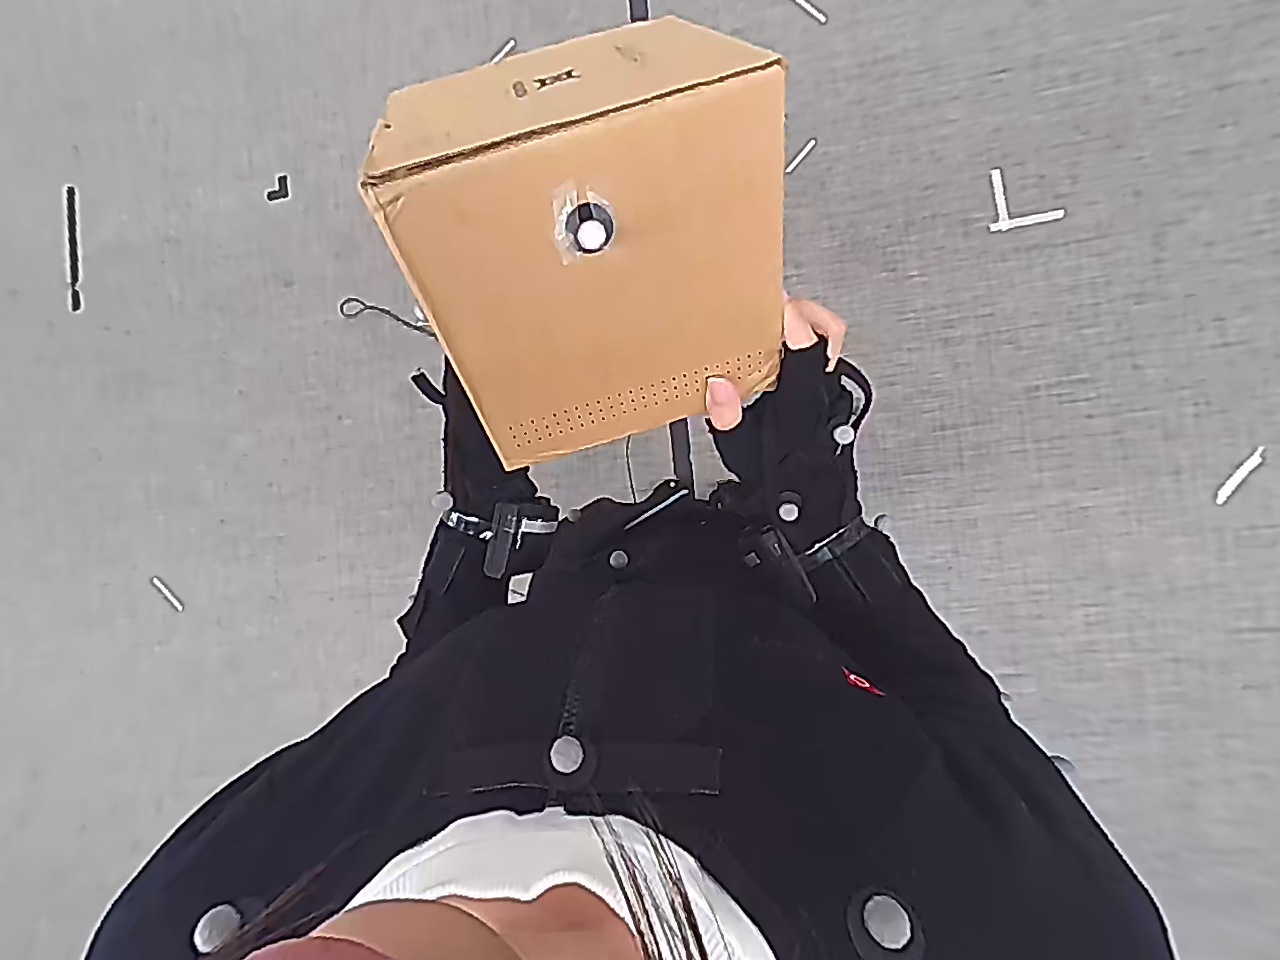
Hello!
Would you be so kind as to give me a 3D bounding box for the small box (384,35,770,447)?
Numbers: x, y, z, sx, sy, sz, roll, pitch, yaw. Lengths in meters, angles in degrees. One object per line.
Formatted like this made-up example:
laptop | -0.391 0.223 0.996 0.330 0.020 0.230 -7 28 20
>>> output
small box | -0.028 -0.145 0.341 0.179 0.176 0.168 -17 47 -2
